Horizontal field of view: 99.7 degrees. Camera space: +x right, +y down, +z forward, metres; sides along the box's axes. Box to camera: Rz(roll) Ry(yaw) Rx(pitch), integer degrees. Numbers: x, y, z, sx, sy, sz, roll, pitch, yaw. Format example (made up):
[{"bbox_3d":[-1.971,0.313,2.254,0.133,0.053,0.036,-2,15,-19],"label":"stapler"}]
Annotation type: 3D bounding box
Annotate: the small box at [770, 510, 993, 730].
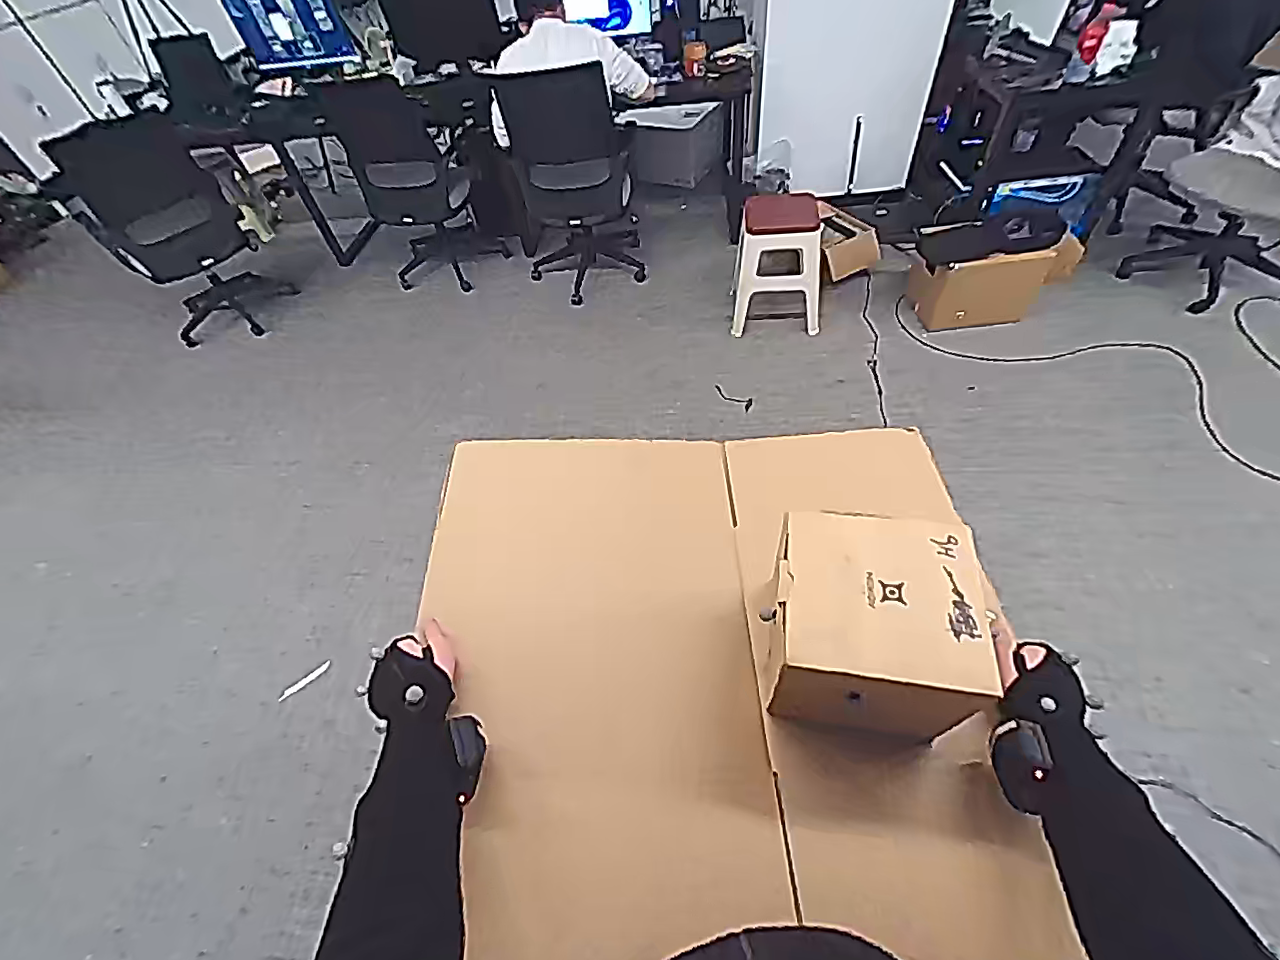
[{"bbox_3d":[0.233,0.150,0.571,0.179,0.176,0.168,4,54,12],"label":"small box"}]
